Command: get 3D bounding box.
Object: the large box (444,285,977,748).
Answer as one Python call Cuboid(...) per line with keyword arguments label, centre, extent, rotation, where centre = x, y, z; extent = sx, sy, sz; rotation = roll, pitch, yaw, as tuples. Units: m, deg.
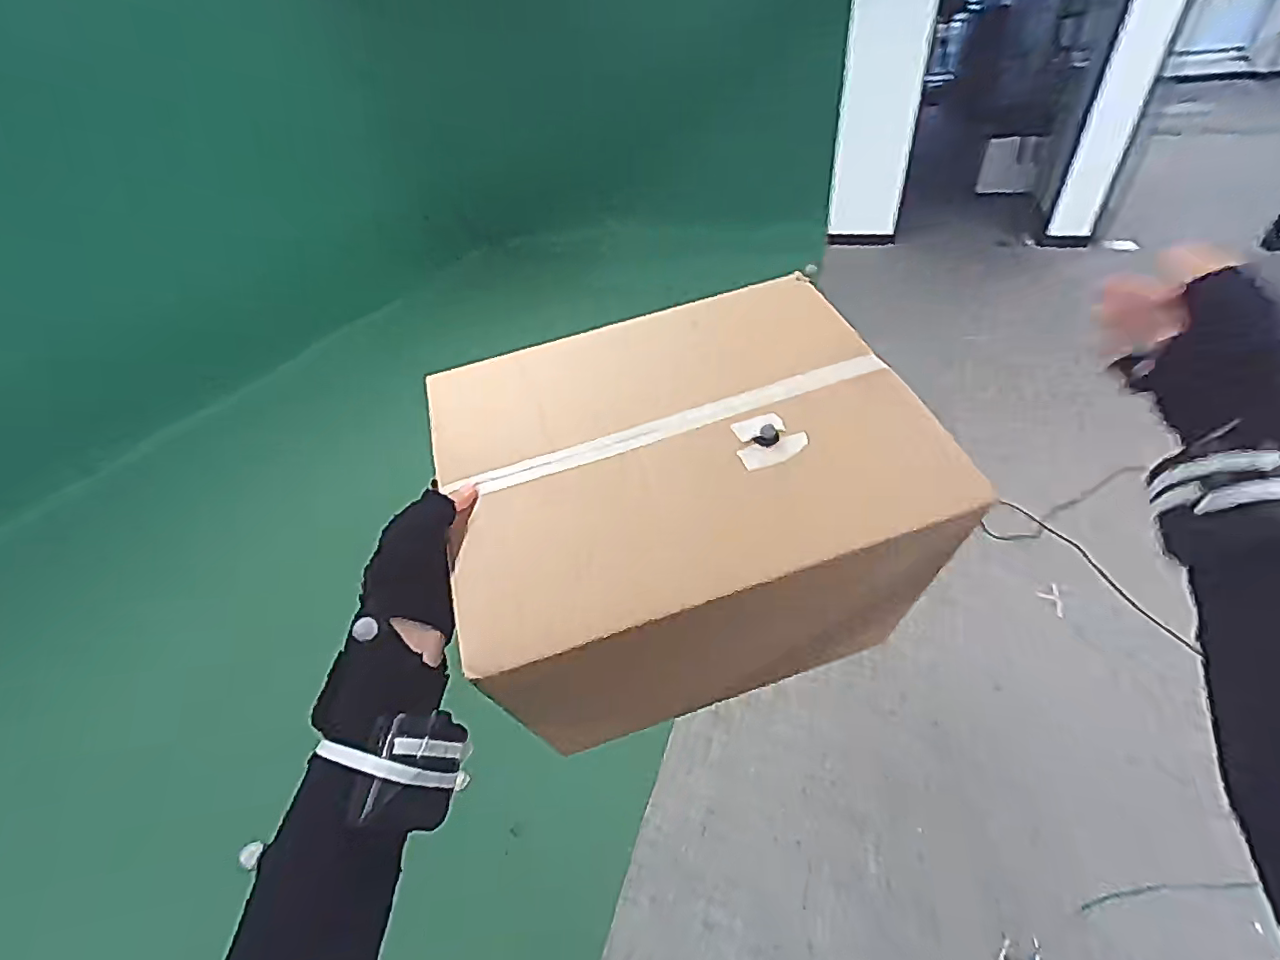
Cuboid(label="large box", centre=(0.046, 0.046, 0.604), extent=(0.408, 0.320, 0.320), rotation=(-18, 55, -7))
